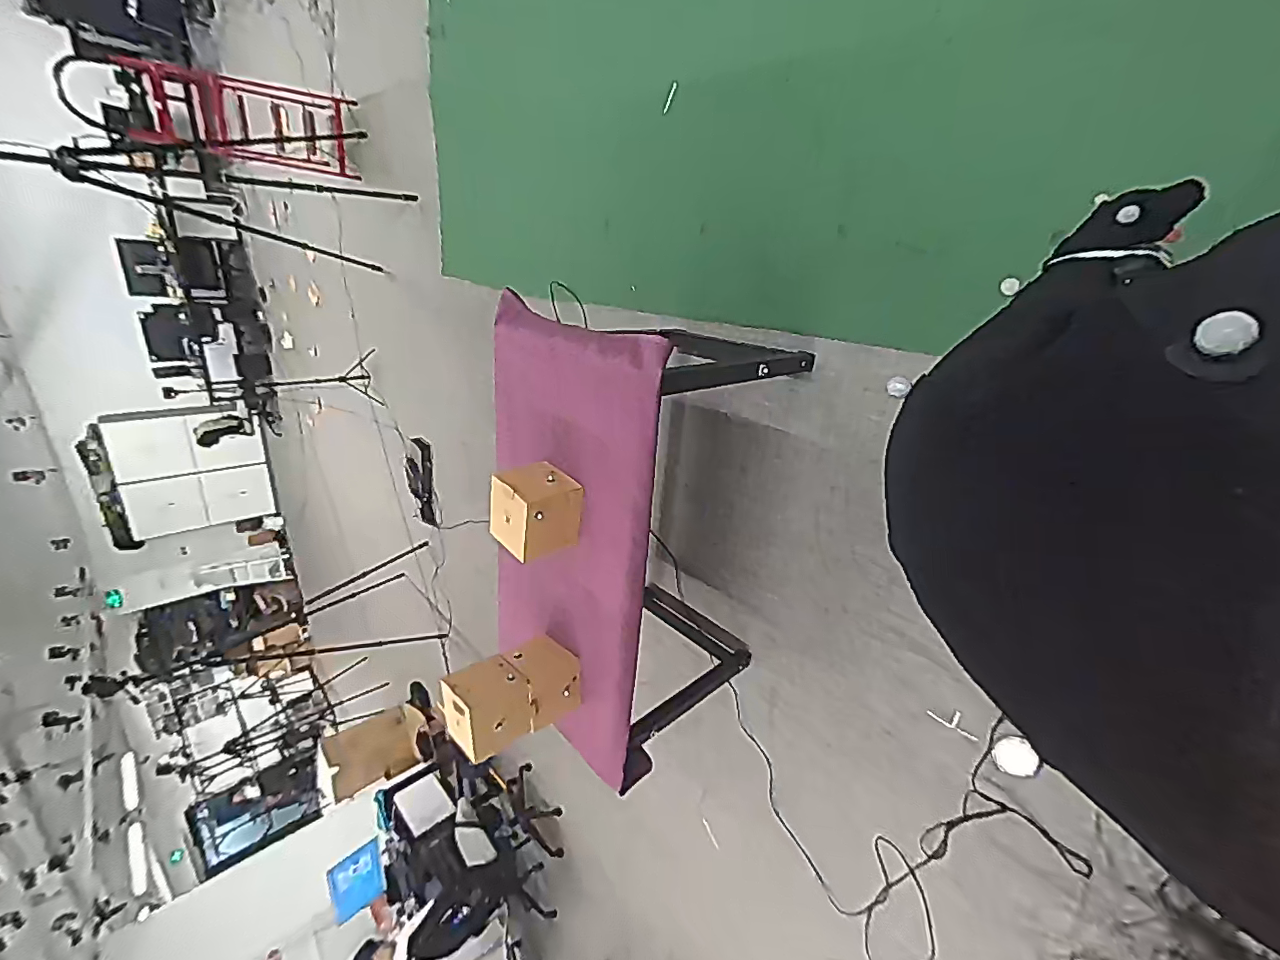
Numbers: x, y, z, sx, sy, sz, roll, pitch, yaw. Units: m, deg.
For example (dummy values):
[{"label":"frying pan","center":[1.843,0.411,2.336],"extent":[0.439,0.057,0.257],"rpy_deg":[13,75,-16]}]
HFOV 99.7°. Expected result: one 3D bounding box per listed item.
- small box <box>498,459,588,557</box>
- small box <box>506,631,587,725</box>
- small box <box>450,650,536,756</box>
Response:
[{"label":"small box","center":[-0.250,0.064,1.389],"extent":[0.168,0.176,0.179],"rpy_deg":[32,124,38]},{"label":"small box","center":[-0.271,0.566,1.578],"extent":[0.179,0.176,0.168],"rpy_deg":[18,116,44]},{"label":"small box","center":[-0.396,0.594,1.470],"extent":[0.168,0.176,0.179],"rpy_deg":[22,118,45]}]
